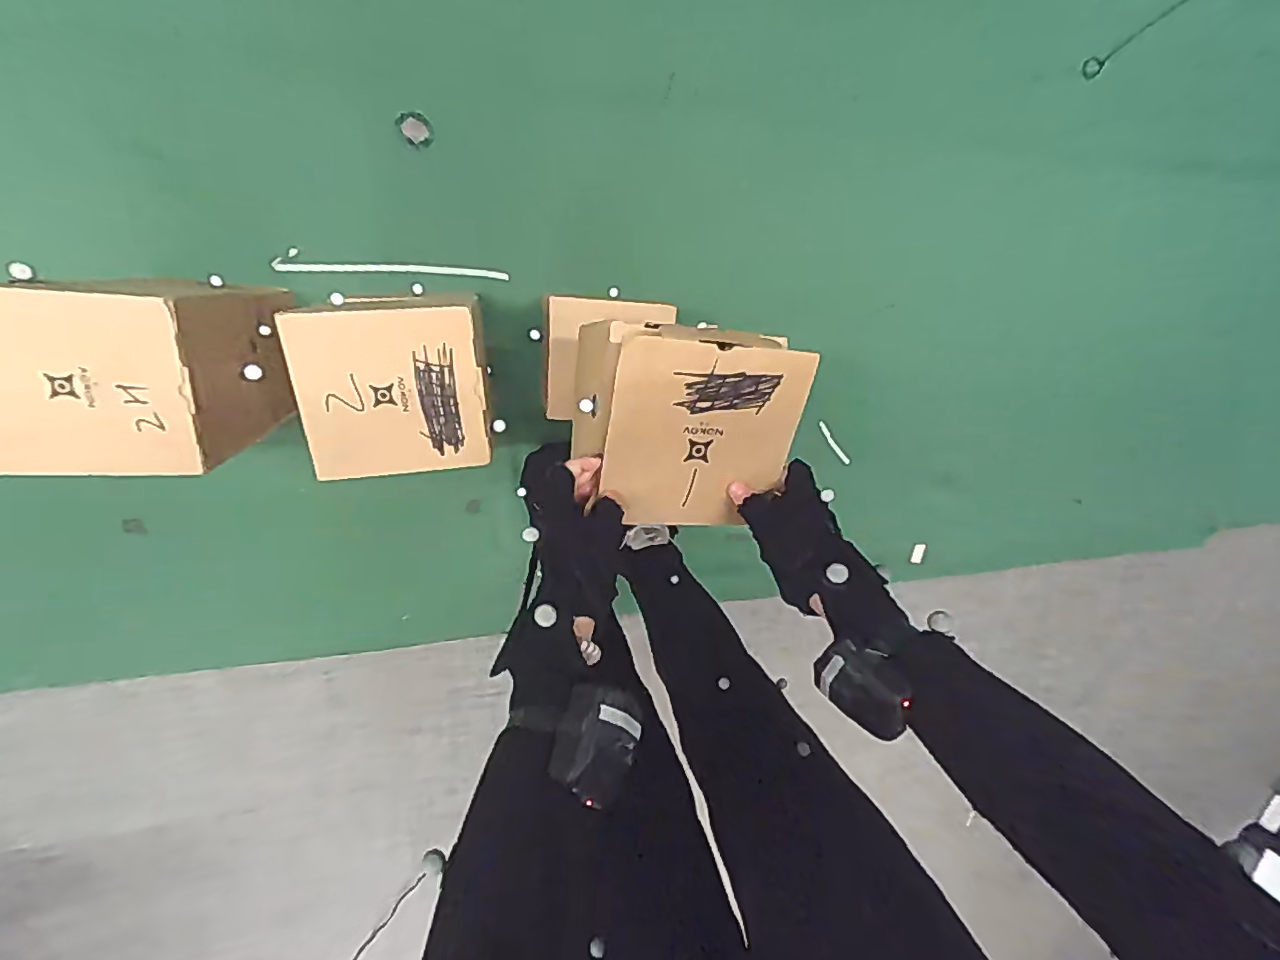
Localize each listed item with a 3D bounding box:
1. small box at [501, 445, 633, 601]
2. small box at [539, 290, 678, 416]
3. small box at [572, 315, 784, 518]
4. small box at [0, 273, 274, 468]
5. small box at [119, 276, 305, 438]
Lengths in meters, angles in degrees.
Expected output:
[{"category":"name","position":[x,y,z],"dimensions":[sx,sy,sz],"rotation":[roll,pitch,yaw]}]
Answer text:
[{"category":"small box","position":[-0.118,0.070,0.928],"dimensions":[0.179,0.176,0.168],"rotation":[33,112,-6]},{"category":"small box","position":[-0.058,-0.194,0.821],"dimensions":[0.179,0.176,0.168],"rotation":[0,110,-14]},{"category":"small box","position":[0.024,-0.070,0.556],"dimensions":[0.168,0.176,0.179],"rotation":[2,105,-15]},{"category":"small box","position":[-0.515,-0.117,0.555],"dimensions":[0.179,0.176,0.168],"rotation":[1,110,-14]},{"category":"small box","position":[-0.561,-0.165,0.707],"dimensions":[0.168,0.176,0.179],"rotation":[1,110,-14]}]
